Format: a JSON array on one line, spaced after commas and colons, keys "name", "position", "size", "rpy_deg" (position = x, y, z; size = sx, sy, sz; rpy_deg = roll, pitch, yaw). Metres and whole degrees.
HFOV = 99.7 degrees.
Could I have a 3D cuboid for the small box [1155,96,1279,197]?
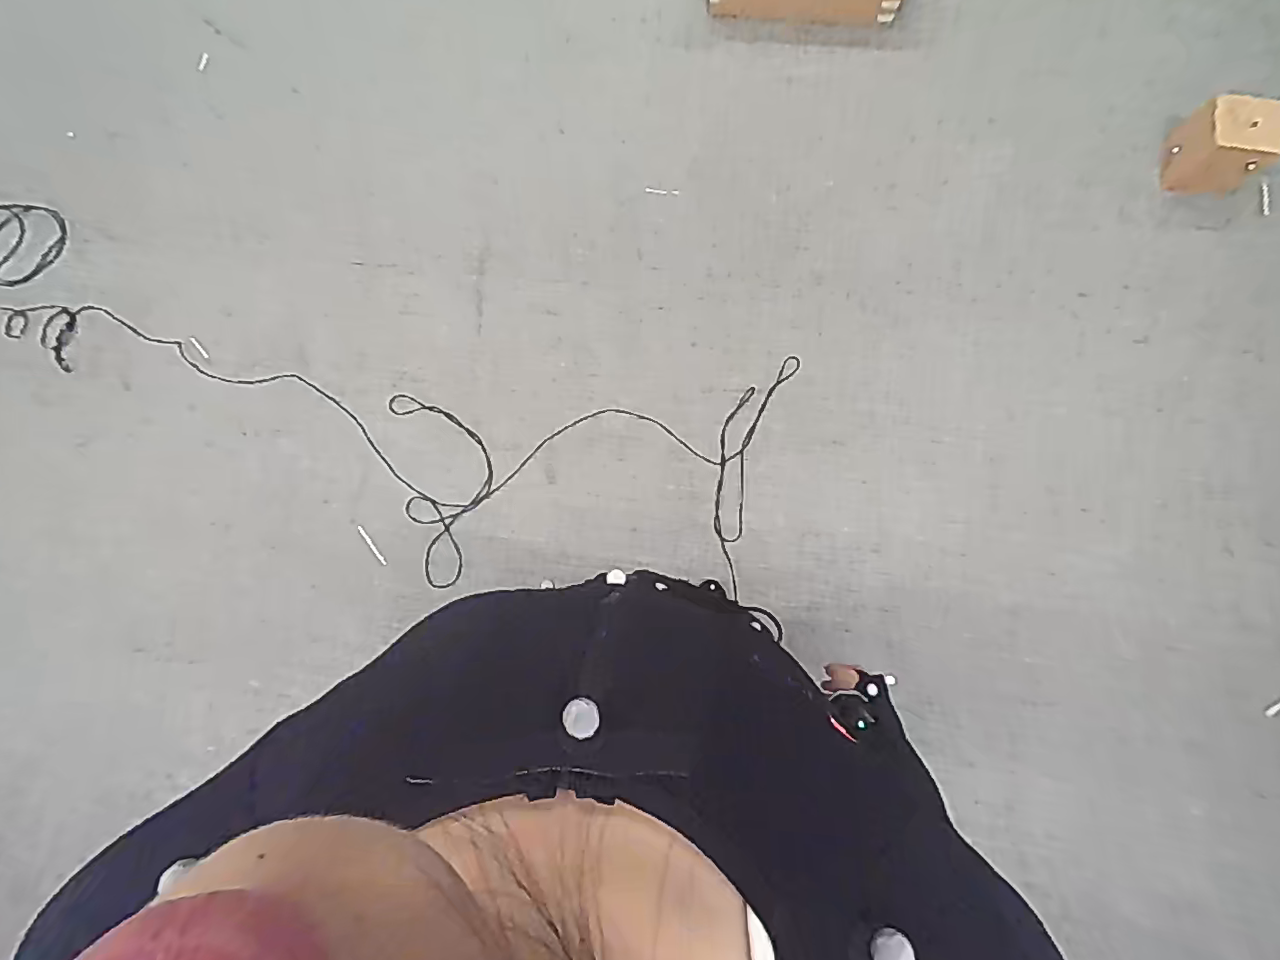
[{"name": "small box", "position": [1.628, -0.935, 1.529], "size": [0.179, 0.176, 0.168], "rpy_deg": [12, 80, 6]}]
